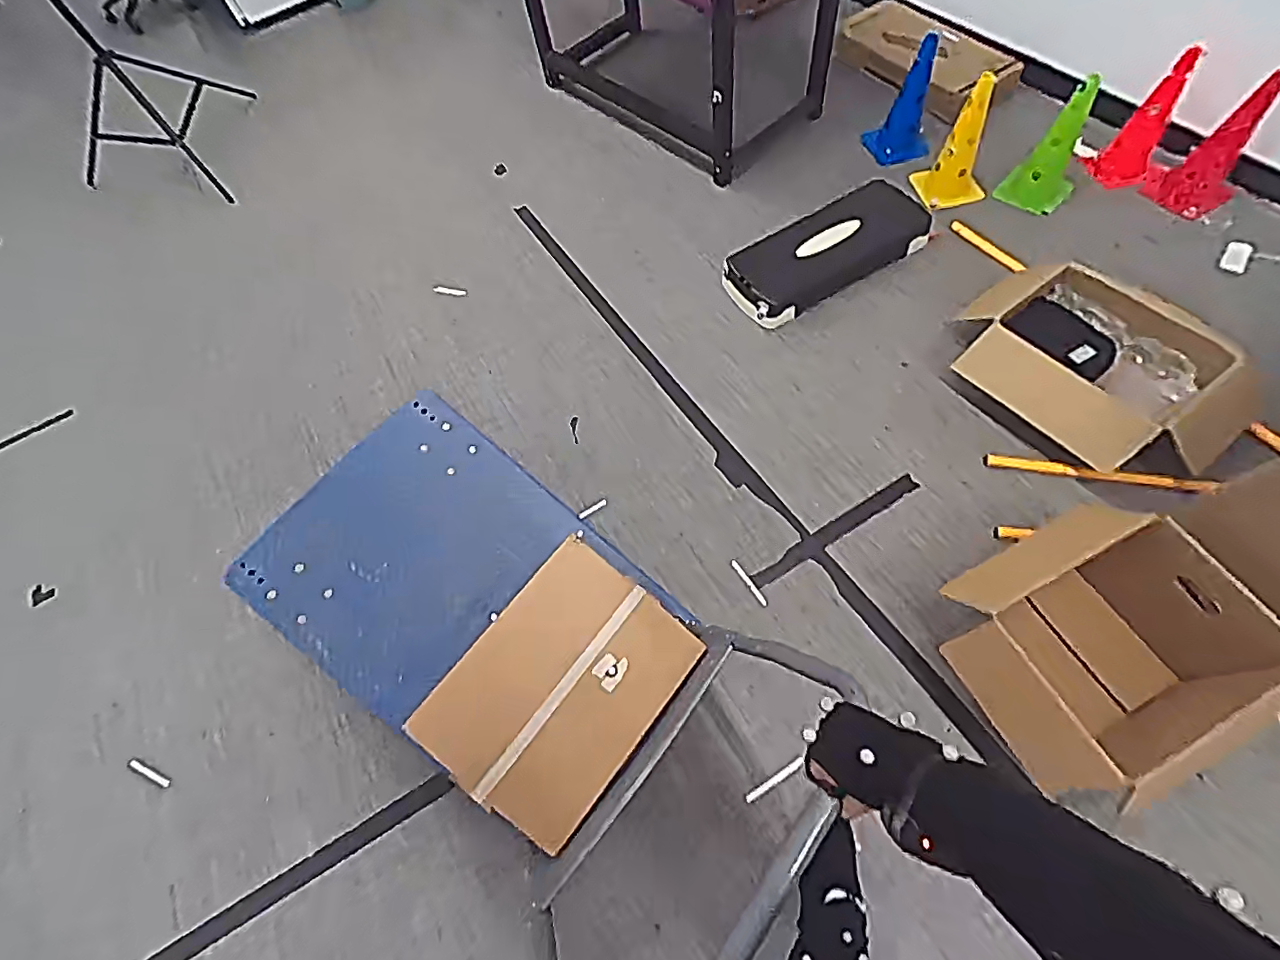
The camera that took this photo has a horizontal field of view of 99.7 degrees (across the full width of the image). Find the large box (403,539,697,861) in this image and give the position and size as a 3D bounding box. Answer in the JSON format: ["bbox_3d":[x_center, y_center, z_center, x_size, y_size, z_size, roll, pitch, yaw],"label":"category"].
[{"bbox_3d":[-0.160,0.380,1.024,0.320,0.320,0.408,40,72,-1],"label":"large box"}]
